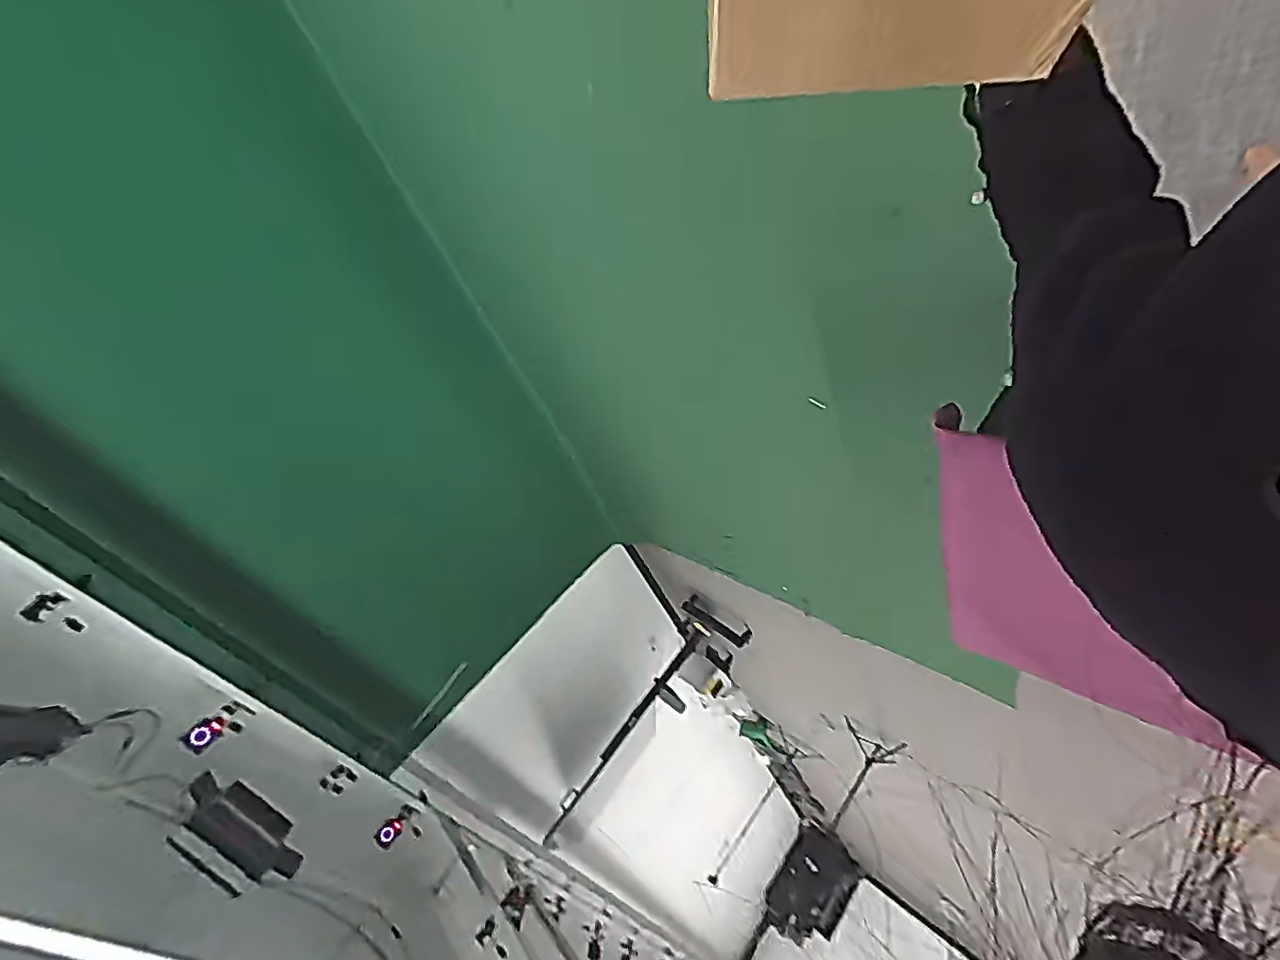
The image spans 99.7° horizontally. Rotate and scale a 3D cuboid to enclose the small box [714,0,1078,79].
[{"bbox_3d":[0.115,-0.307,0.213,0.168,0.179,0.176,1,162,6],"label":"small box"}]
